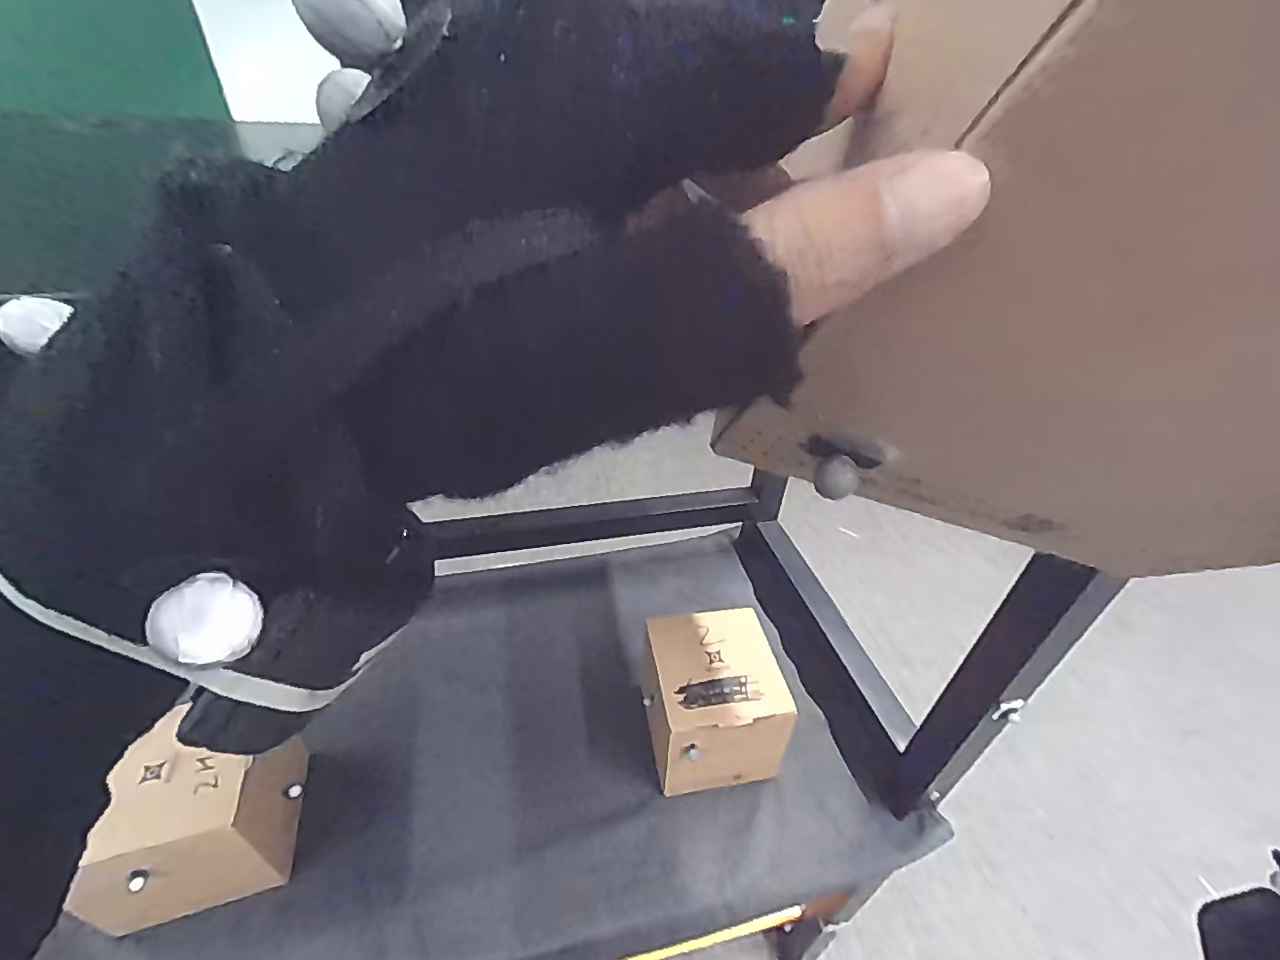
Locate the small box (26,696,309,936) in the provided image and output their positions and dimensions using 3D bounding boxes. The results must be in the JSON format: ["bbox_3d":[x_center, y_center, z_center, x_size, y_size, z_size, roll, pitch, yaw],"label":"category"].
[{"bbox_3d":[-0.526,0.394,0.640,0.179,0.176,0.168,-8,38,-16],"label":"small box"}]
